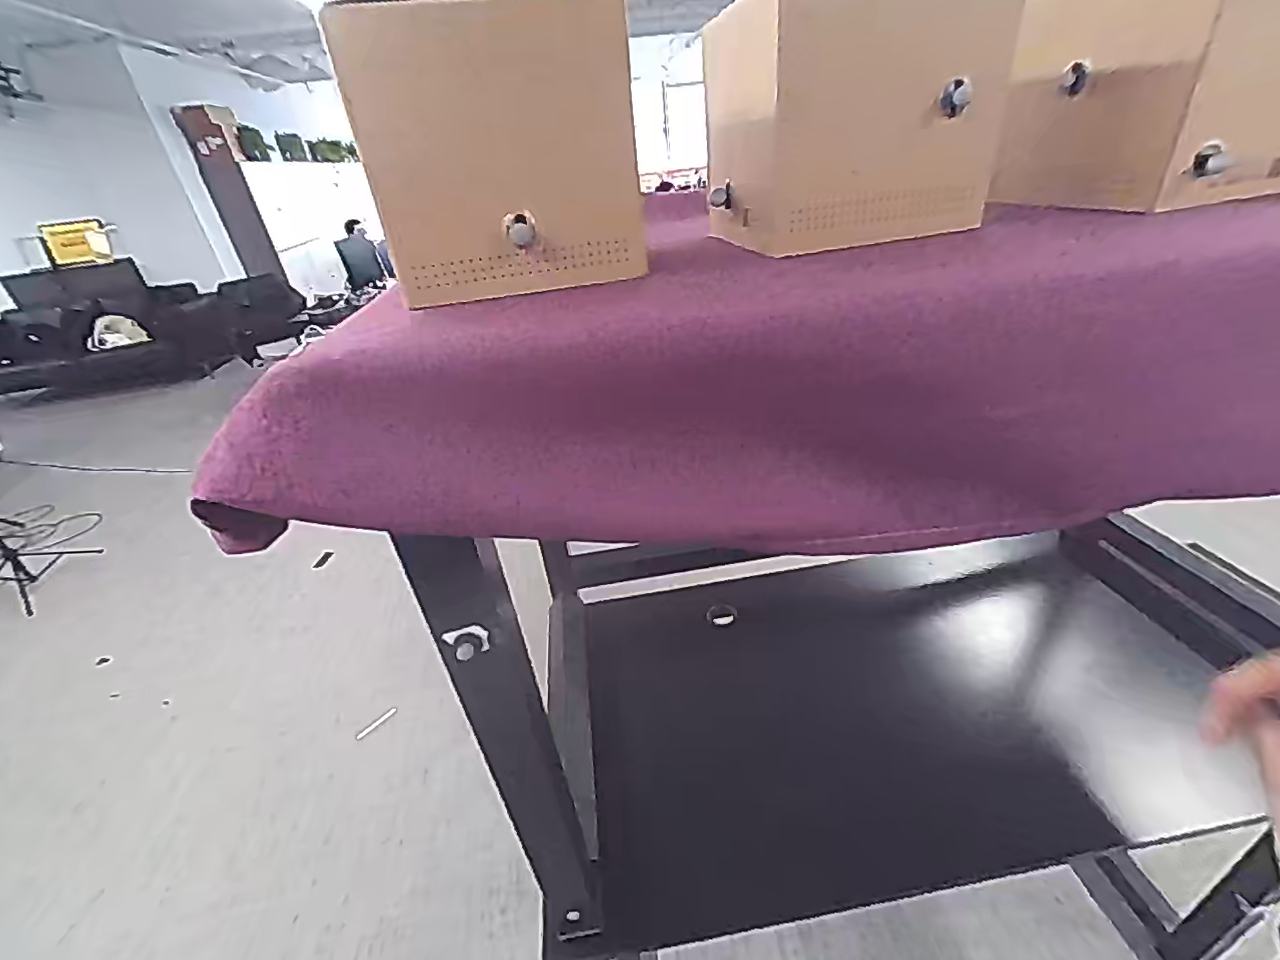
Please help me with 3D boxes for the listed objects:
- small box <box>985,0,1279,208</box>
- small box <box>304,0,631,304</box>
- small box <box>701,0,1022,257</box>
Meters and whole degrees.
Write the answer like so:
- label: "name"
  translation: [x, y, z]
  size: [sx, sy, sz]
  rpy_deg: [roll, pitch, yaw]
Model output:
- label: "small box"
  translation: [0.427, -0.325, 0.440]
  size: [0.168, 0.176, 0.179]
  rpy_deg: [-12, 30, -8]
- label: "small box"
  translation: [-0.107, -0.242, 0.407]
  size: [0.179, 0.176, 0.168]
  rpy_deg: [-11, 31, -9]
- label: "small box"
  translation: [0.156, -0.290, 0.439]
  size: [0.179, 0.176, 0.168]
  rpy_deg: [-11, 30, -6]
